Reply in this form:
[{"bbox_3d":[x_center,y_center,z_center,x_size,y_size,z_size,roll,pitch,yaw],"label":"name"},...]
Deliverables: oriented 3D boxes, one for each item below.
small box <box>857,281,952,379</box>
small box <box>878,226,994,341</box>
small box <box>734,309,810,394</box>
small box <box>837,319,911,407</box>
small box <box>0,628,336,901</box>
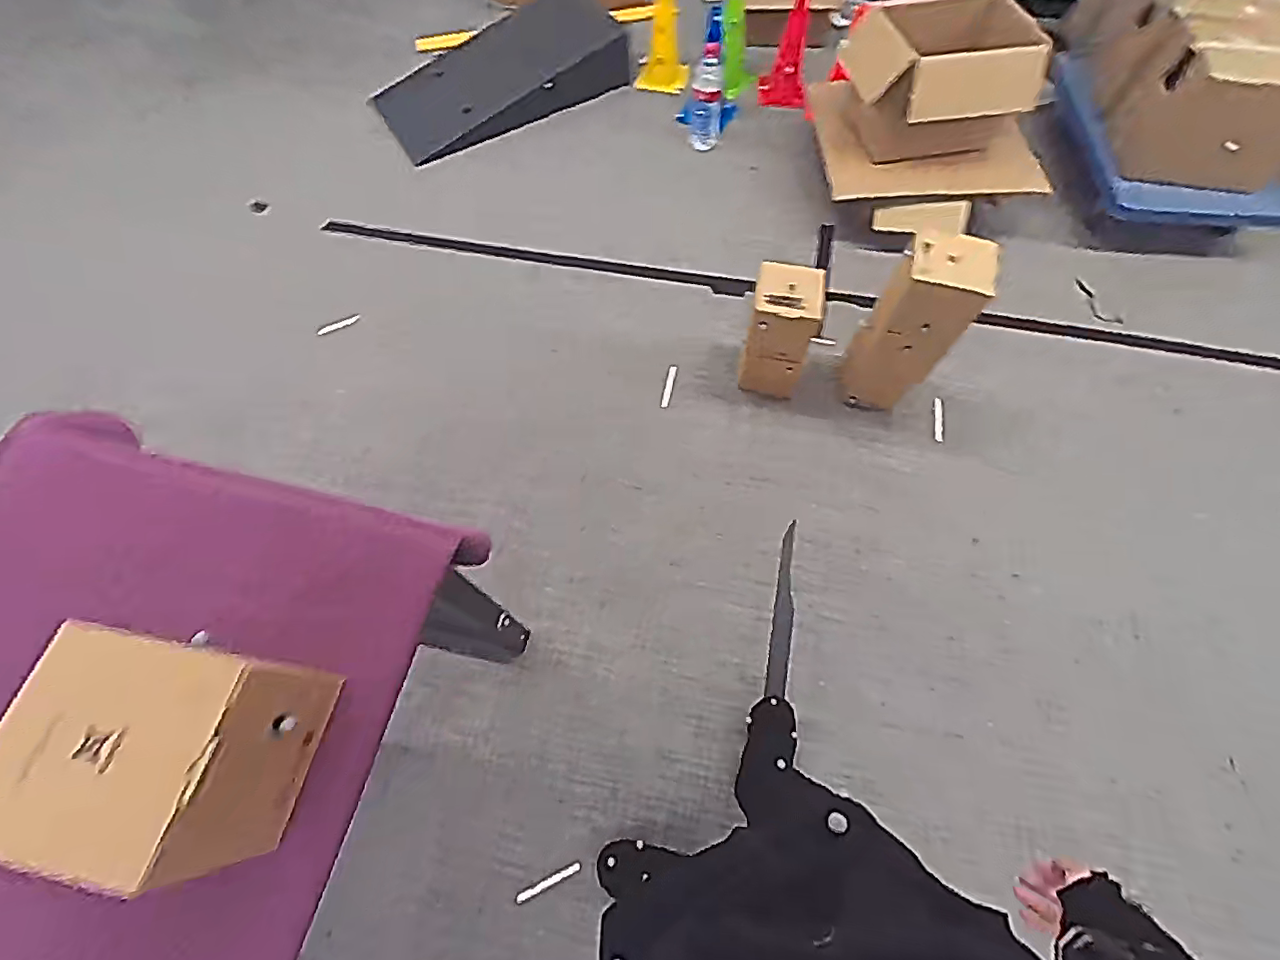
[{"bbox_3d":[0.686,-0.386,1.413,0.179,0.176,0.168,13,67,4],"label":"small box"},{"bbox_3d":[0.687,-0.451,1.262,0.179,0.176,0.168,16,67,5],"label":"small box"},{"bbox_3d":[0.382,-0.372,1.586,0.179,0.176,0.168,12,66,5],"label":"small box"},{"bbox_3d":[0.684,-0.335,1.571,0.168,0.176,0.179,11,65,4],"label":"small box"},{"bbox_3d":[-0.424,0.247,0.497,0.179,0.176,0.168,10,65,5],"label":"small box"}]
